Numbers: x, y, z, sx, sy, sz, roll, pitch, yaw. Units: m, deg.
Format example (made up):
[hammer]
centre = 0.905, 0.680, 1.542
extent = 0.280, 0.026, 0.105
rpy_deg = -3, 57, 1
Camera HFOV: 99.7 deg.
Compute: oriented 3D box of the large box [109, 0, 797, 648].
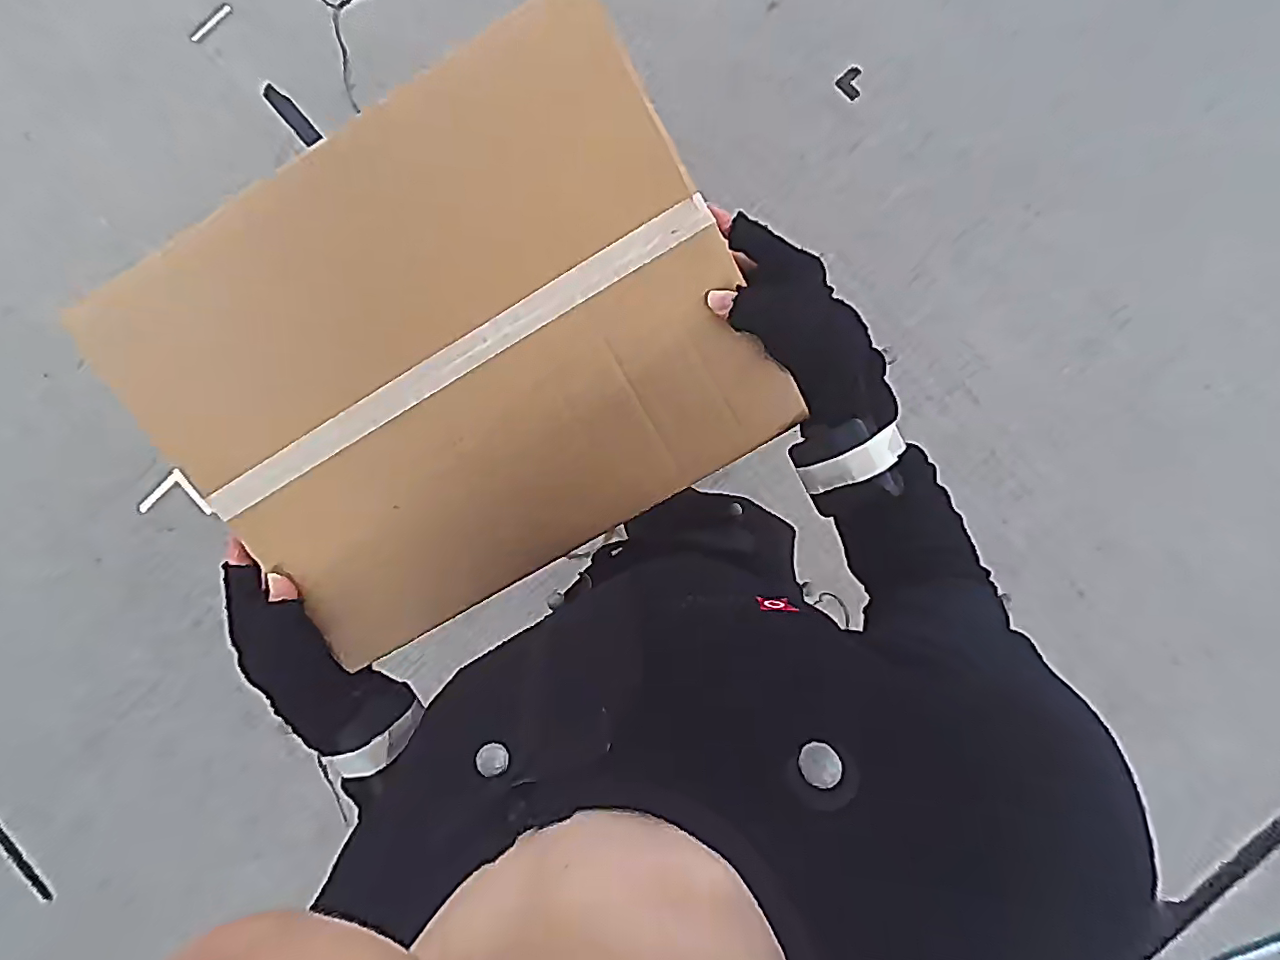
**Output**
[large box]
centre = -0.131, -0.119, 0.530
extent = 0.408, 0.320, 0.320
rpy_deg = -30, 103, 6
